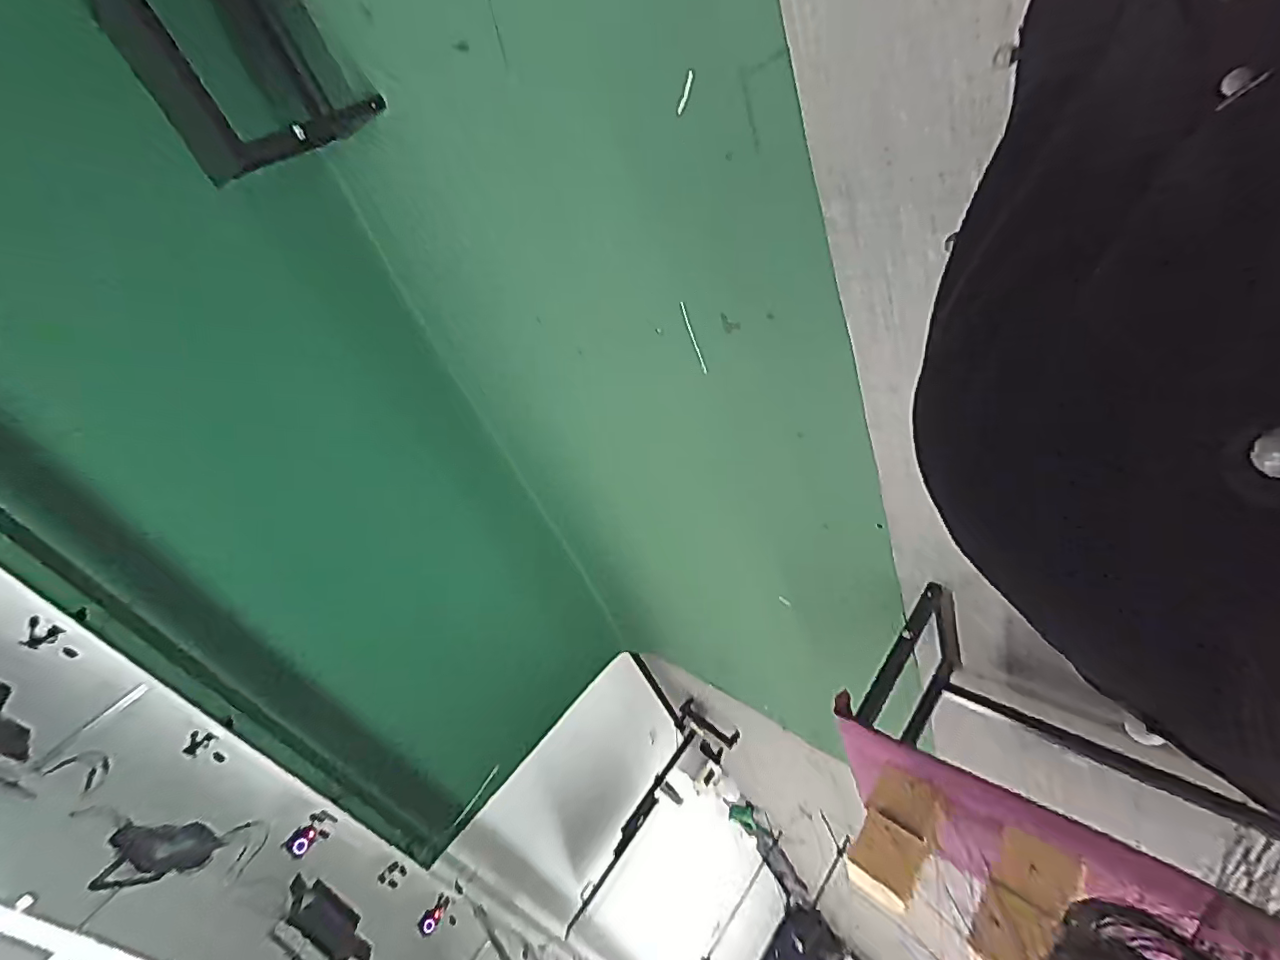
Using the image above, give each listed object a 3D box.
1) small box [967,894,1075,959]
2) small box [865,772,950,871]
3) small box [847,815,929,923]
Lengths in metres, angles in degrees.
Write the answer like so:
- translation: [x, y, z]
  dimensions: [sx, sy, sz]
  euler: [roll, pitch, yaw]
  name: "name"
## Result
- translation: [0.928, 1.159, 1.320]
  dimensions: [0.179, 0.176, 0.168]
  euler: [13, 139, 47]
  name: "small box"
- translation: [0.827, 1.040, 1.668]
  dimensions: [0.179, 0.176, 0.168]
  euler: [13, 139, 48]
  name: "small box"
- translation: [0.724, 1.127, 1.574]
  dimensions: [0.168, 0.176, 0.179]
  euler: [20, 142, 41]
  name: "small box"
